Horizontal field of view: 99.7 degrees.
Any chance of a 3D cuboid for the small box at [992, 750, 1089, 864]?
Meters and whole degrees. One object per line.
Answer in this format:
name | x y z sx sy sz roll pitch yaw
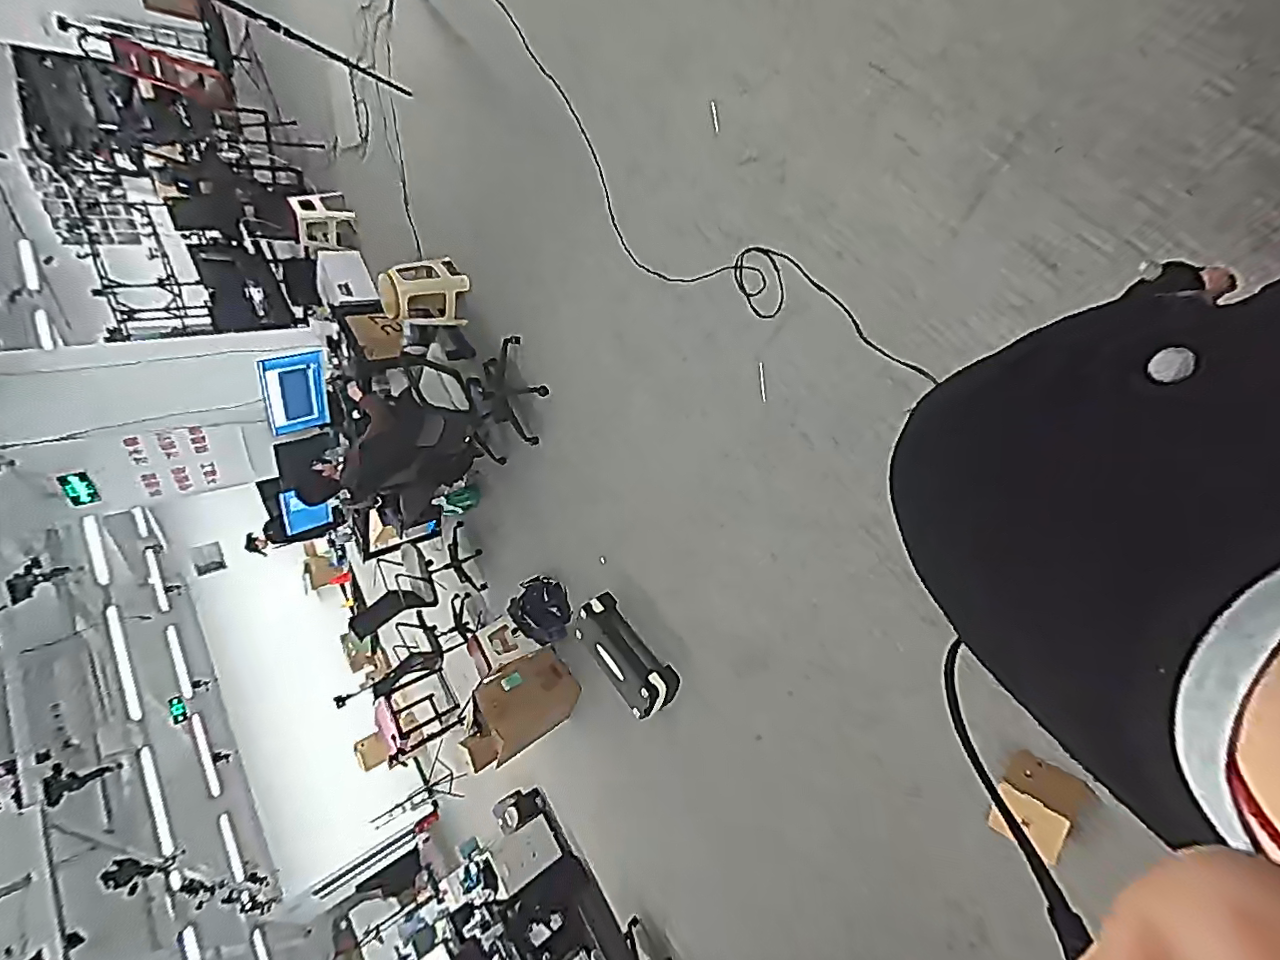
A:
small box | 1.124 0.906 1.516 0.168 0.176 0.179 21 123 46
